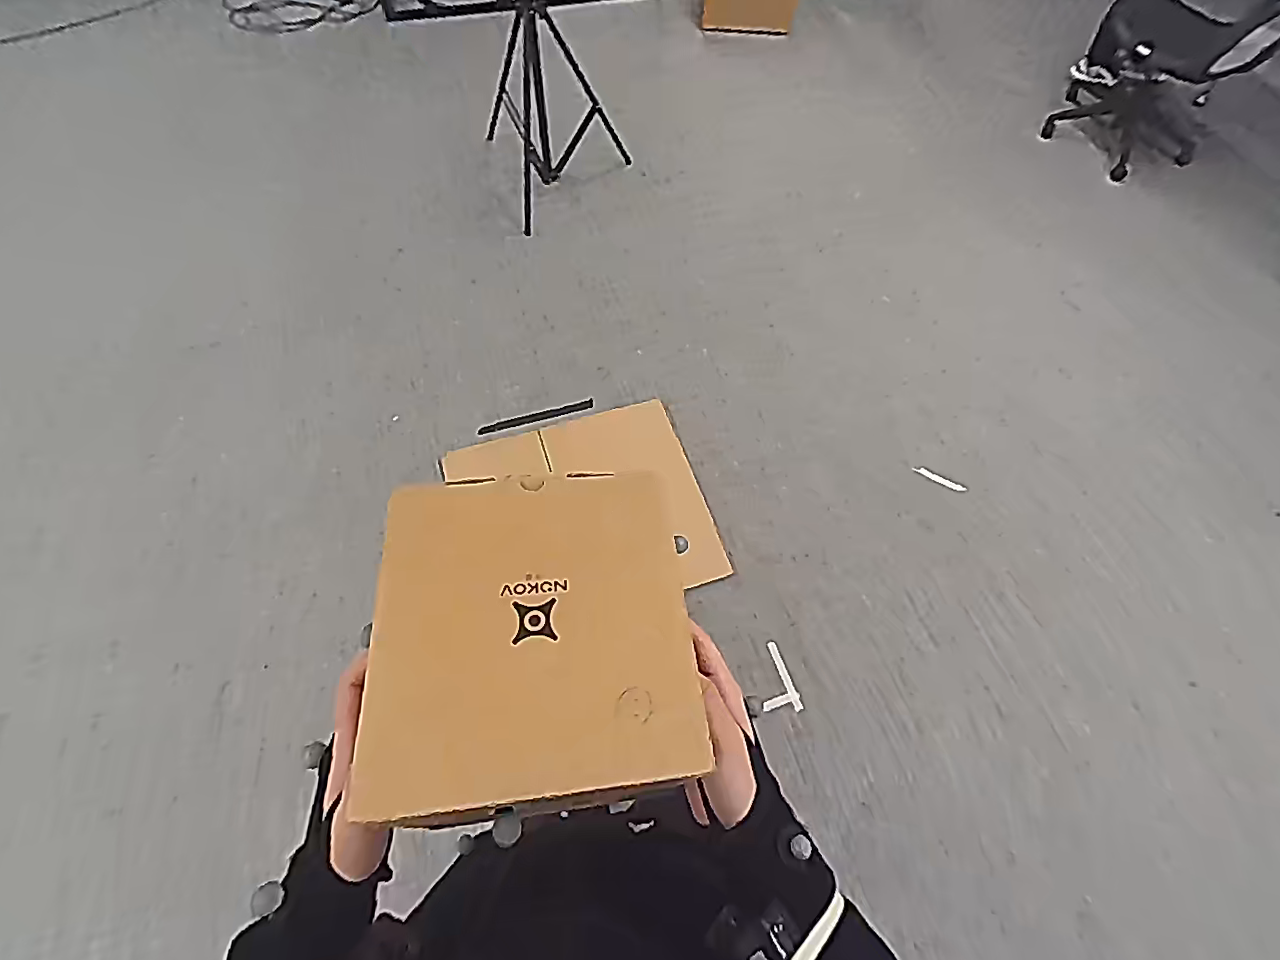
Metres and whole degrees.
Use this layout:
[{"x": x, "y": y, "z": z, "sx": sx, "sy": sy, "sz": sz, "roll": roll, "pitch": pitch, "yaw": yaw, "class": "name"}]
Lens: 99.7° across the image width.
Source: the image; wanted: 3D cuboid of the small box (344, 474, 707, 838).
[{"x": -0.064, "y": 0.117, "z": 0.352, "sx": 0.168, "sy": 0.176, "sz": 0.179, "roll": -4, "pitch": 56, "yaw": -9, "class": "small box"}]
